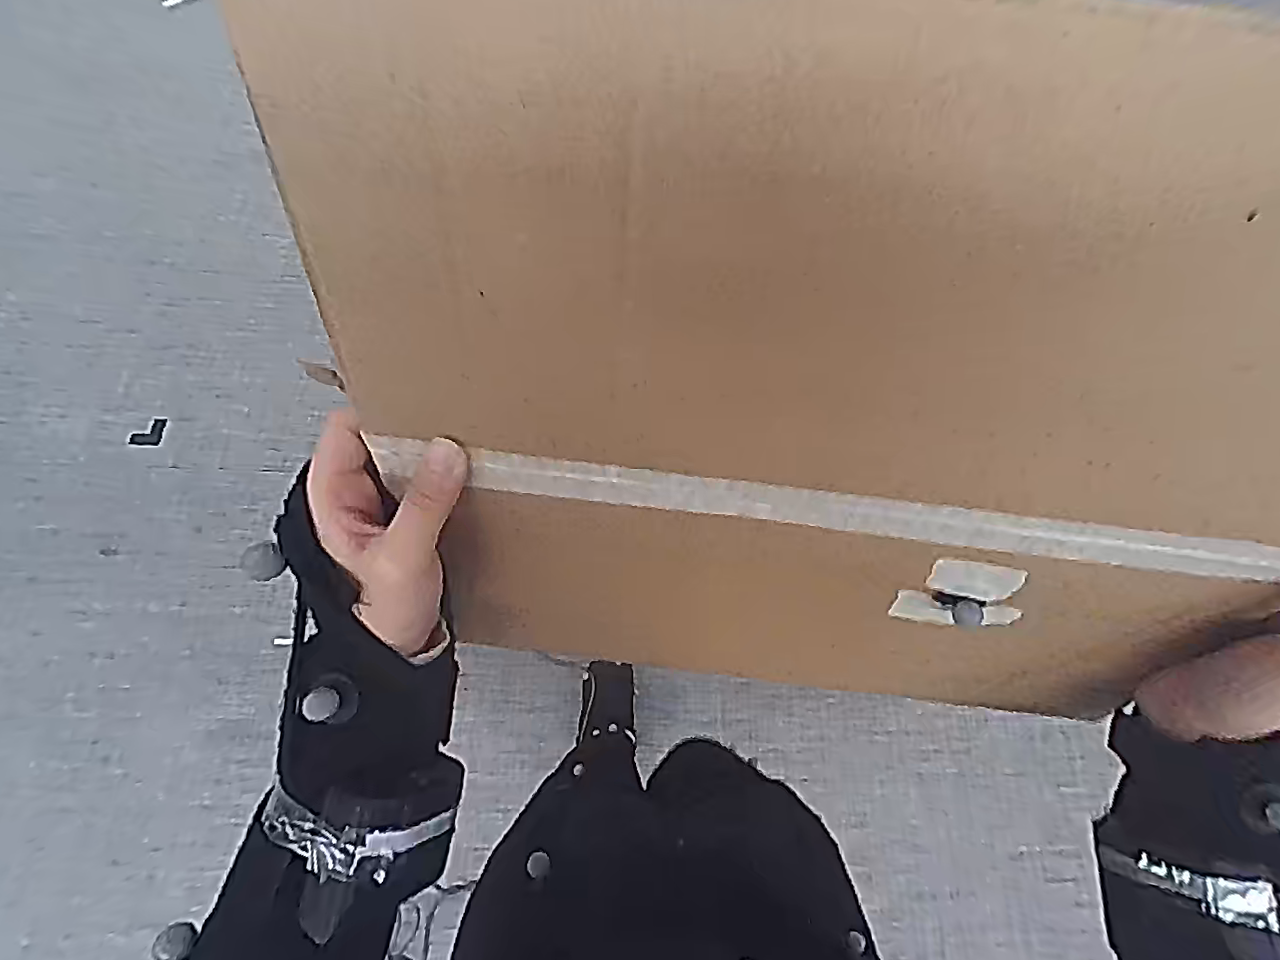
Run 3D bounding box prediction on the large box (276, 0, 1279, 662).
[{"bbox_3d":[0.103,-0.121,0.329,0.408,0.320,0.320,6,44,0],"label":"large box"}]
